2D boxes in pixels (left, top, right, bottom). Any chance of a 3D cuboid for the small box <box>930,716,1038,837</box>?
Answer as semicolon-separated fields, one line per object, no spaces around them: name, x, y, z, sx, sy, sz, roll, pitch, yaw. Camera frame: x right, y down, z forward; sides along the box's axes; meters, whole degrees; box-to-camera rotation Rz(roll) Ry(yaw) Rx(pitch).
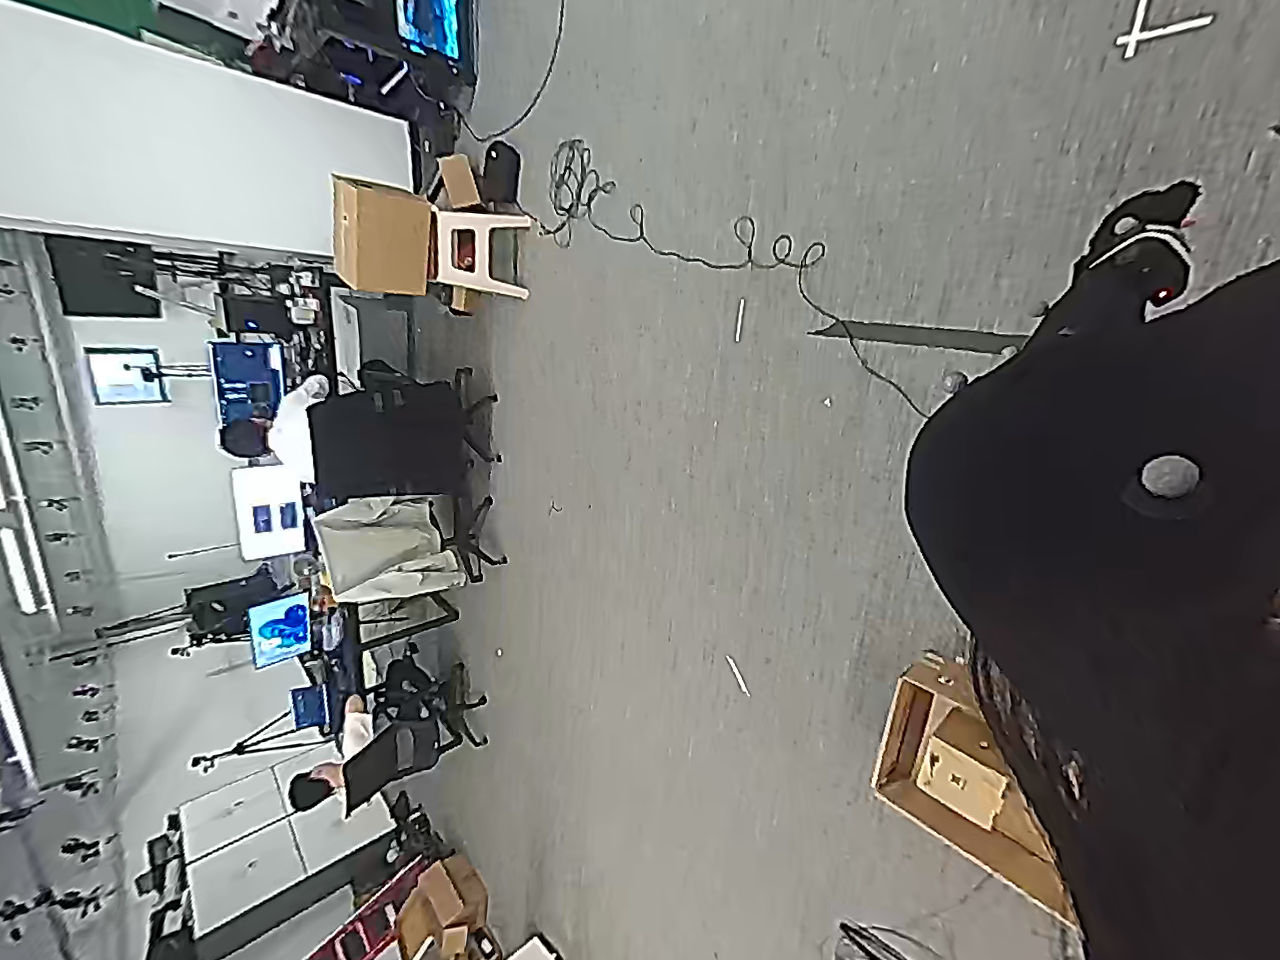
small box;0.867;0.731;1.360;0.179;0.176;0.168;21;112;42
